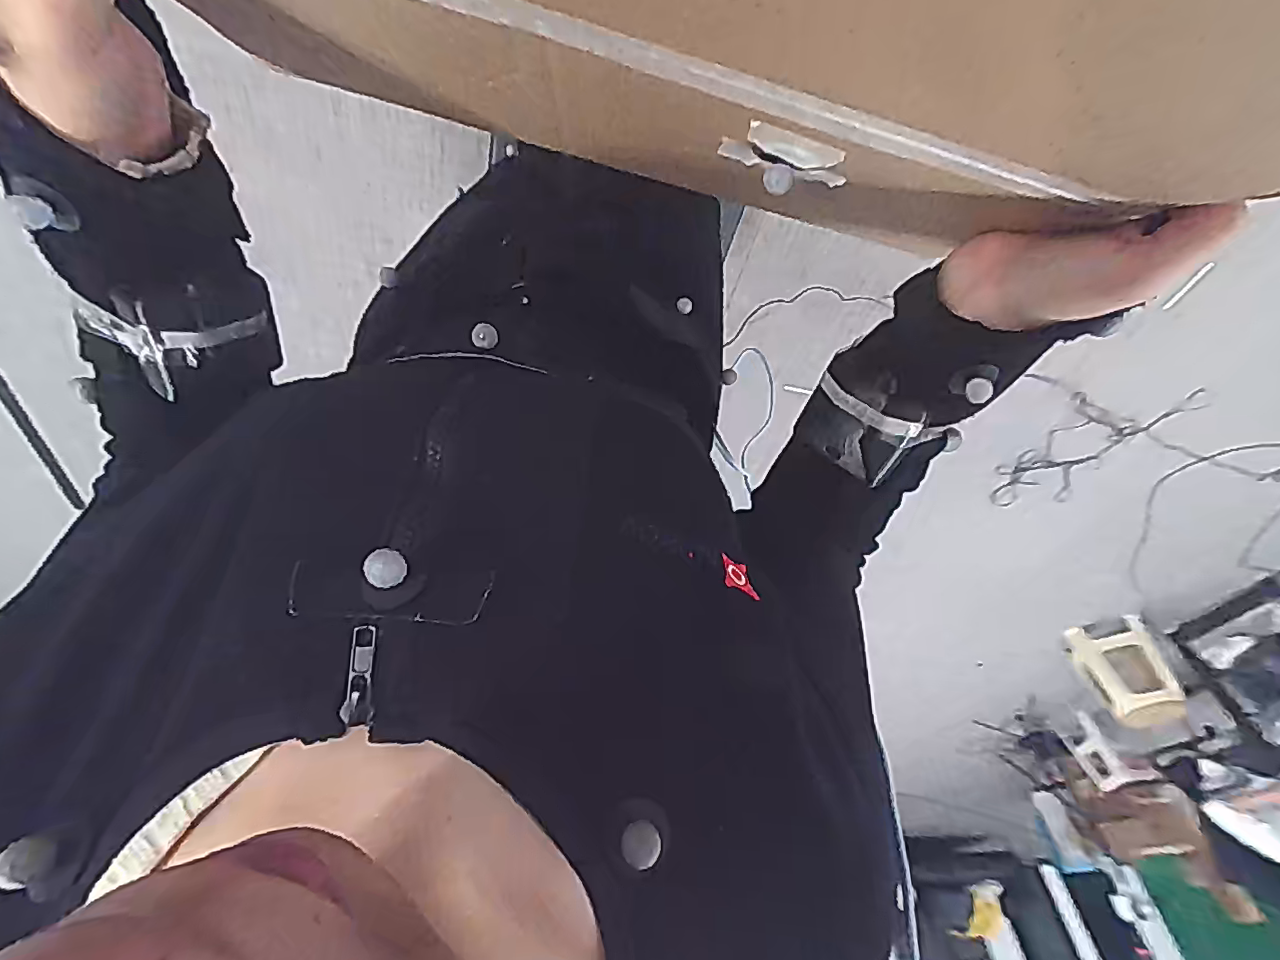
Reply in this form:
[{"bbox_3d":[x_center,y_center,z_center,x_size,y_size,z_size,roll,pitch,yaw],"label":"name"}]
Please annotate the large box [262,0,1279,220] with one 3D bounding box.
[{"bbox_3d":[0.056,-0.295,0.116,0.408,0.320,0.320,11,106,-7],"label":"large box"}]
